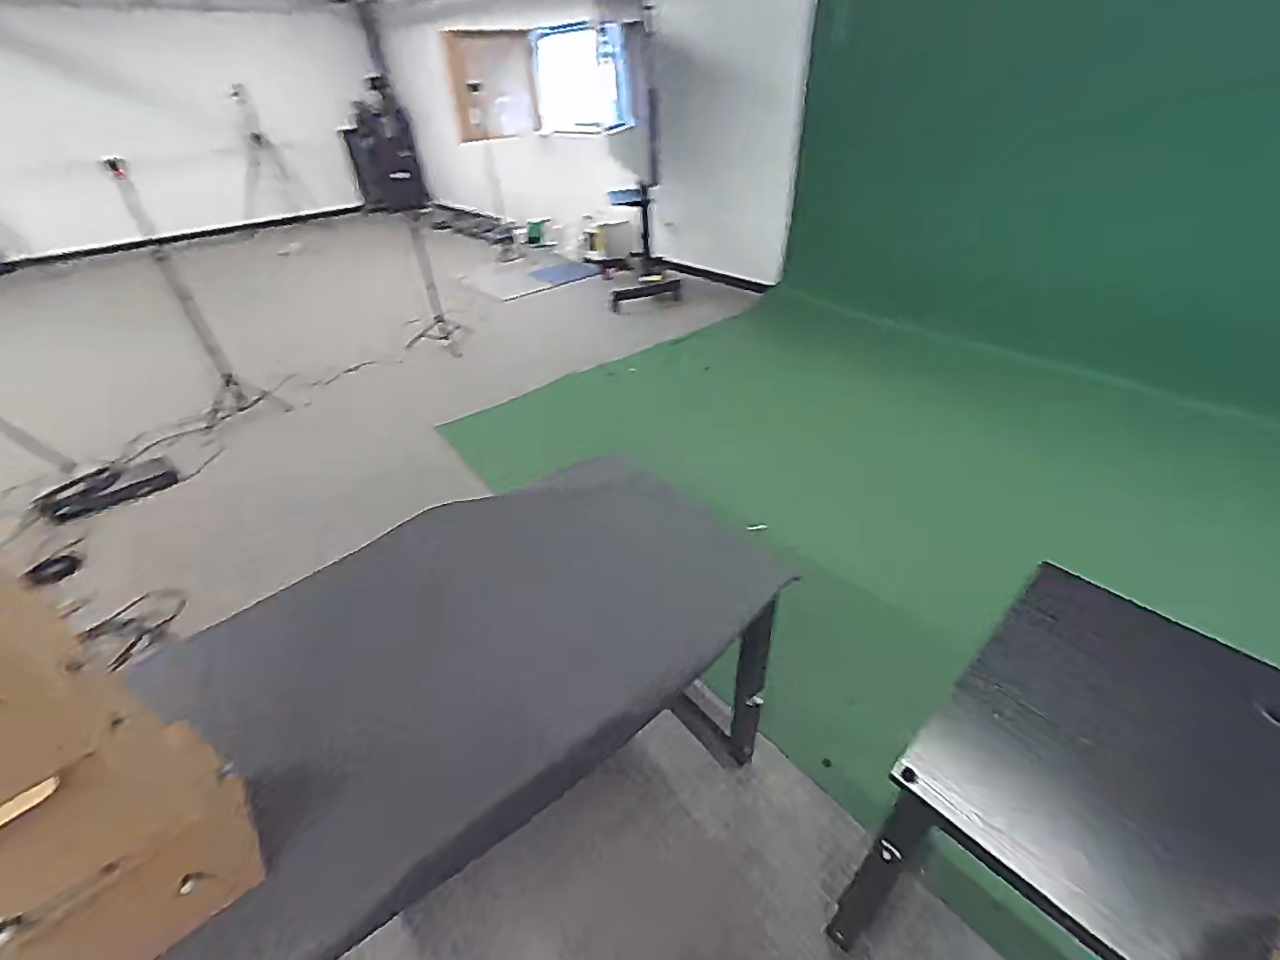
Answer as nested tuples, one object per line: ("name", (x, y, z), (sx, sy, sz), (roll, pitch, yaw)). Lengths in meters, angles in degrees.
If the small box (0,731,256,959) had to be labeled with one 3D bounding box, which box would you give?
("small box", (-0.592, 0.452, 0.641), (0.179, 0.176, 0.168), (-30, 42, -30))
